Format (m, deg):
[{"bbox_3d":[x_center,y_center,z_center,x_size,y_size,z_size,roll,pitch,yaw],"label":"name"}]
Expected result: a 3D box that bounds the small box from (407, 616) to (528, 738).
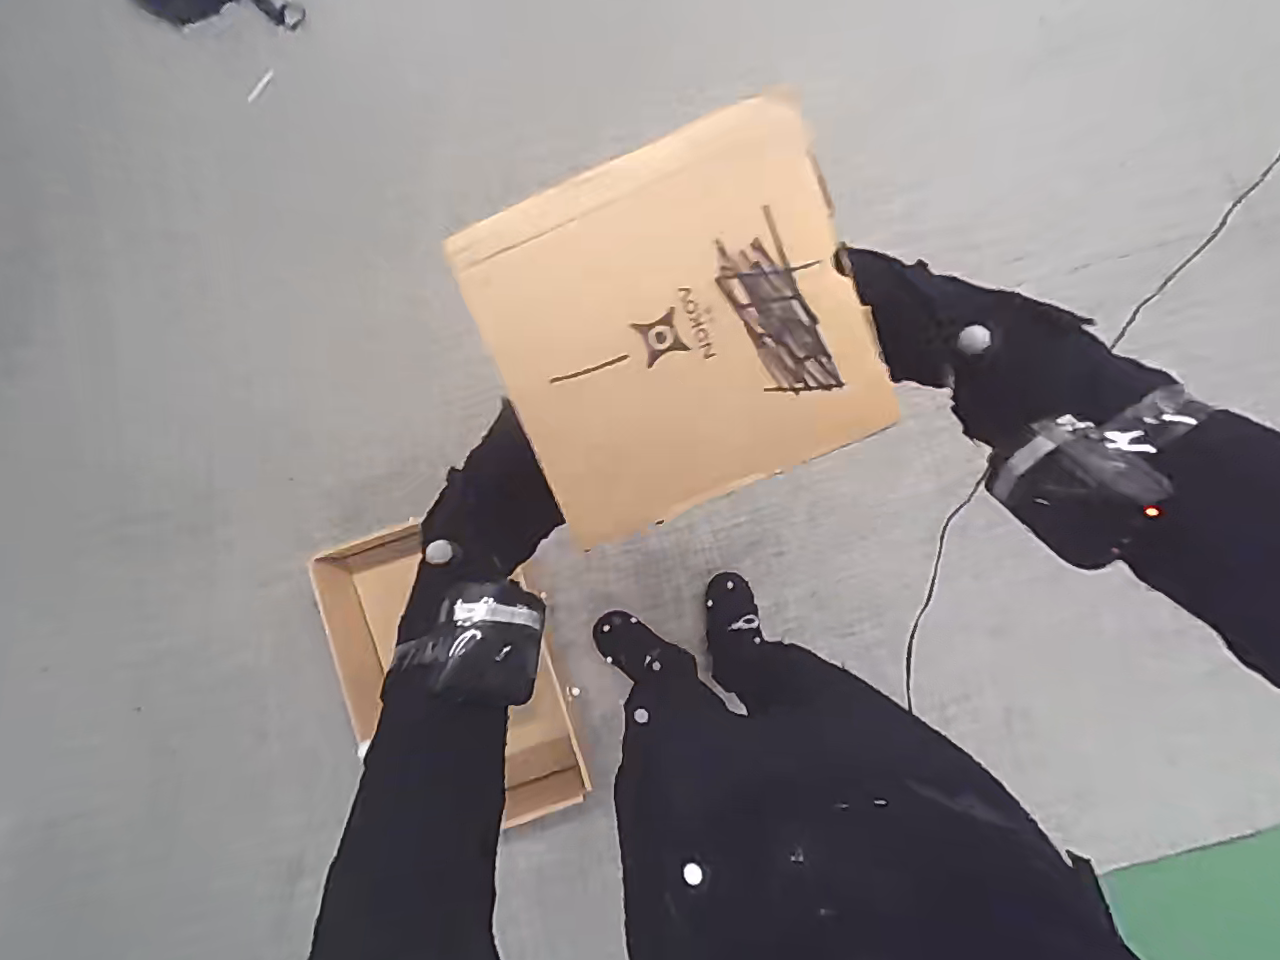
[{"bbox_3d":[-0.339,0.389,1.102,0.179,0.176,0.168,-17,84,0],"label":"small box"}]
